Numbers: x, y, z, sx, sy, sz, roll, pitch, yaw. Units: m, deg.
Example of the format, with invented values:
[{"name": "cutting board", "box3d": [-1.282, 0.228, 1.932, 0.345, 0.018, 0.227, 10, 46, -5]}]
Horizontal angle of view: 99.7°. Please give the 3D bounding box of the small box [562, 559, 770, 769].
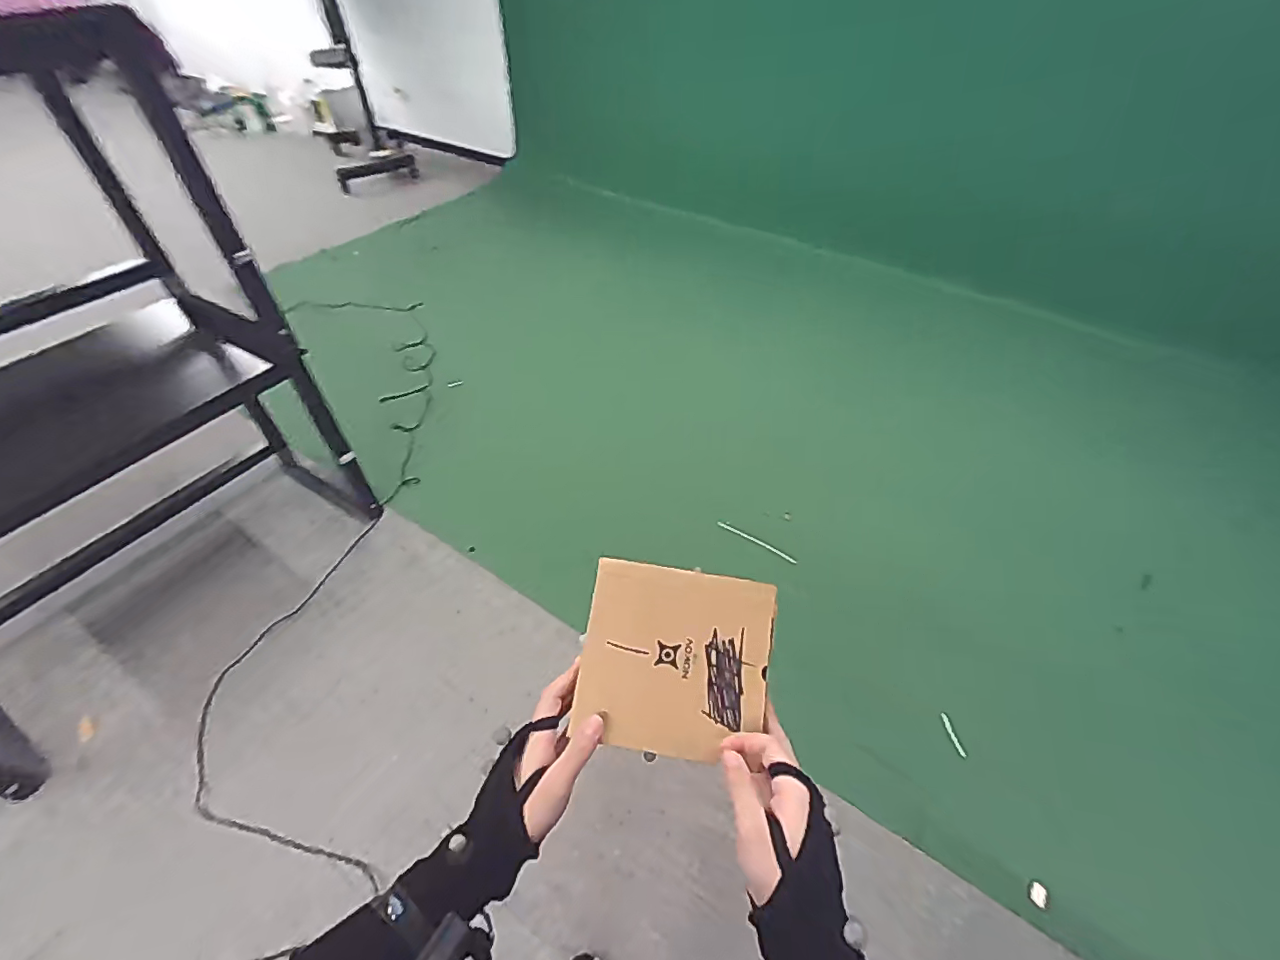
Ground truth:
[{"name": "small box", "box3d": [0.029, 0.192, 0.577, 0.179, 0.176, 0.168, 8, 69, 4]}]
